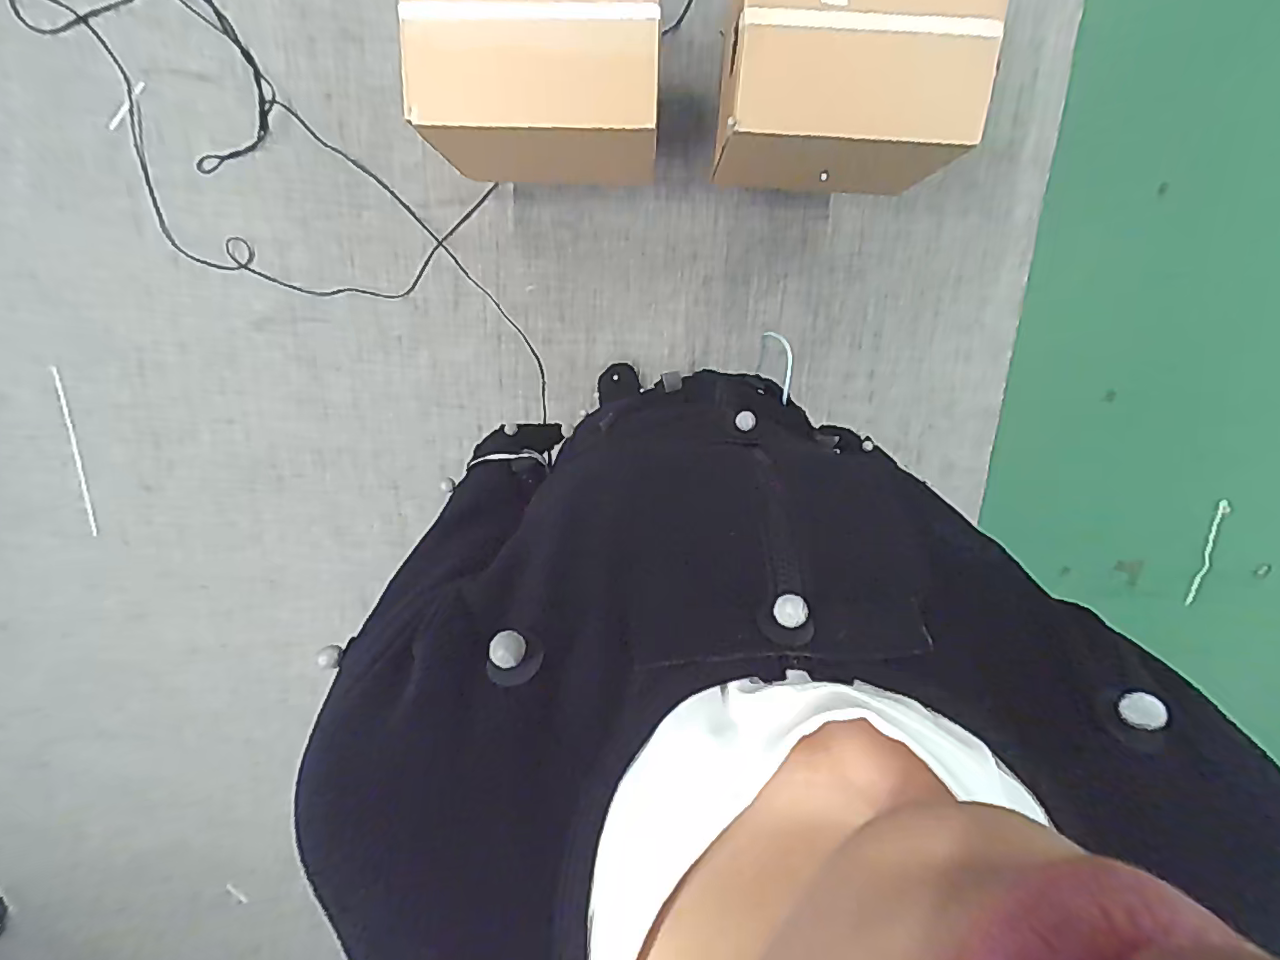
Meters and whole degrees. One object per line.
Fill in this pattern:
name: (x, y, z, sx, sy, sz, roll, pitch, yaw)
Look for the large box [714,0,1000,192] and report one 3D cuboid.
large box: (0.365, -0.743, 1.000, 0.408, 0.320, 0.320, 4, 104, 1)
